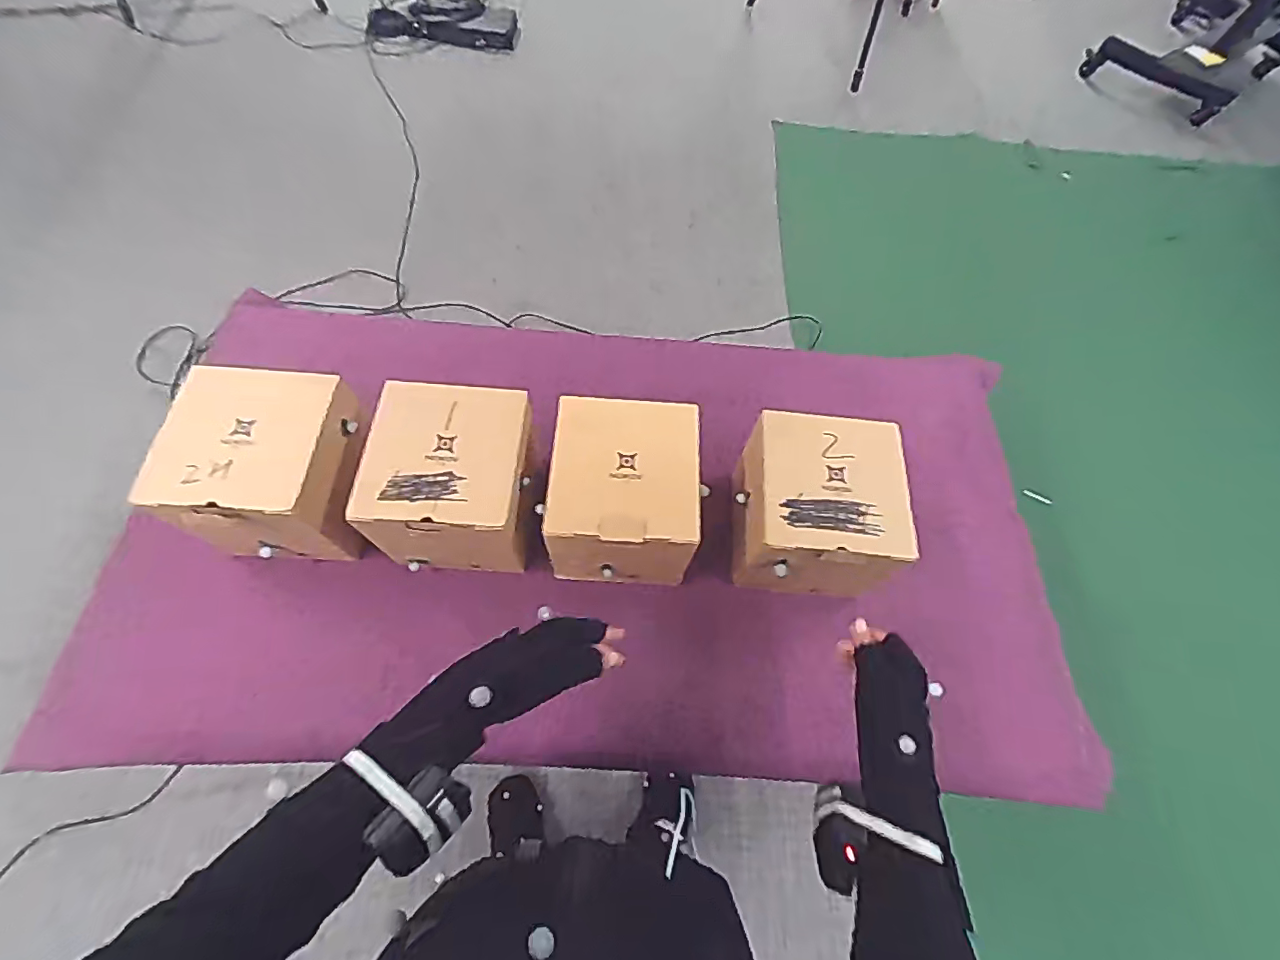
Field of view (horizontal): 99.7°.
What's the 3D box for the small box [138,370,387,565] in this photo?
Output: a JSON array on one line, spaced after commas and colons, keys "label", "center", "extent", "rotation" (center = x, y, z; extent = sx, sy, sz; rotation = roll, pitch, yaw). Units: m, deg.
[{"label": "small box", "center": [-0.434, -0.009, 0.663], "extent": [0.168, 0.176, 0.179], "rotation": [4, 64, -2]}]
